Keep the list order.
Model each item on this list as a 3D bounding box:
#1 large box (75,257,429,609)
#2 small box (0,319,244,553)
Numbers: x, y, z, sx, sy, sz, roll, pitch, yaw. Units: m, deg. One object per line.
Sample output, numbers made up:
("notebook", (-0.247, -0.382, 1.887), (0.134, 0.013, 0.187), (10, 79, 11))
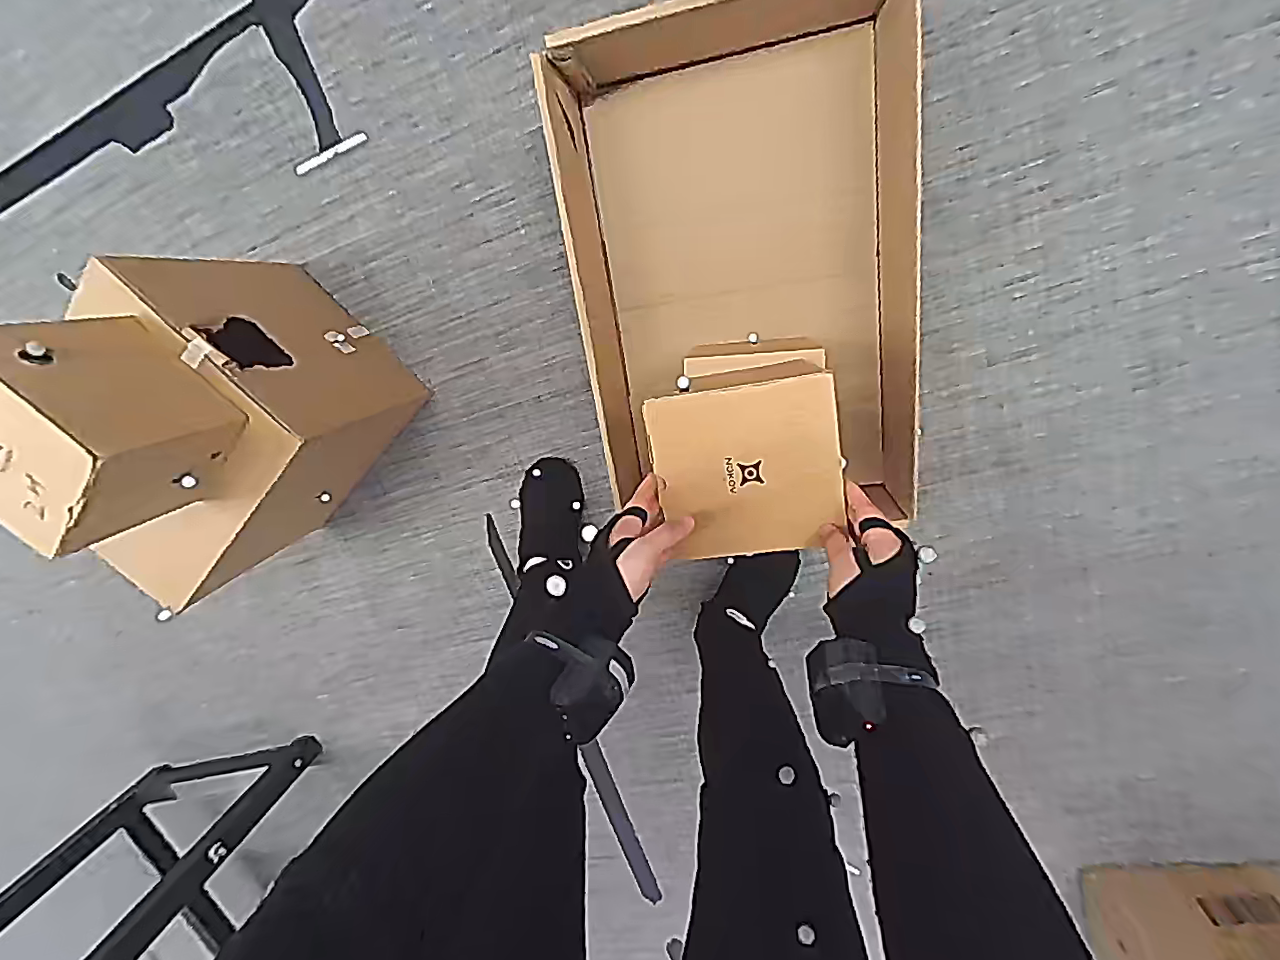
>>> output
("large box", (-0.624, -0.087, 0.856), (0.320, 0.320, 0.408), (45, 112, -6))
("small box", (-0.601, -0.060, 0.596), (0.179, 0.176, 0.168), (43, 112, -8))
